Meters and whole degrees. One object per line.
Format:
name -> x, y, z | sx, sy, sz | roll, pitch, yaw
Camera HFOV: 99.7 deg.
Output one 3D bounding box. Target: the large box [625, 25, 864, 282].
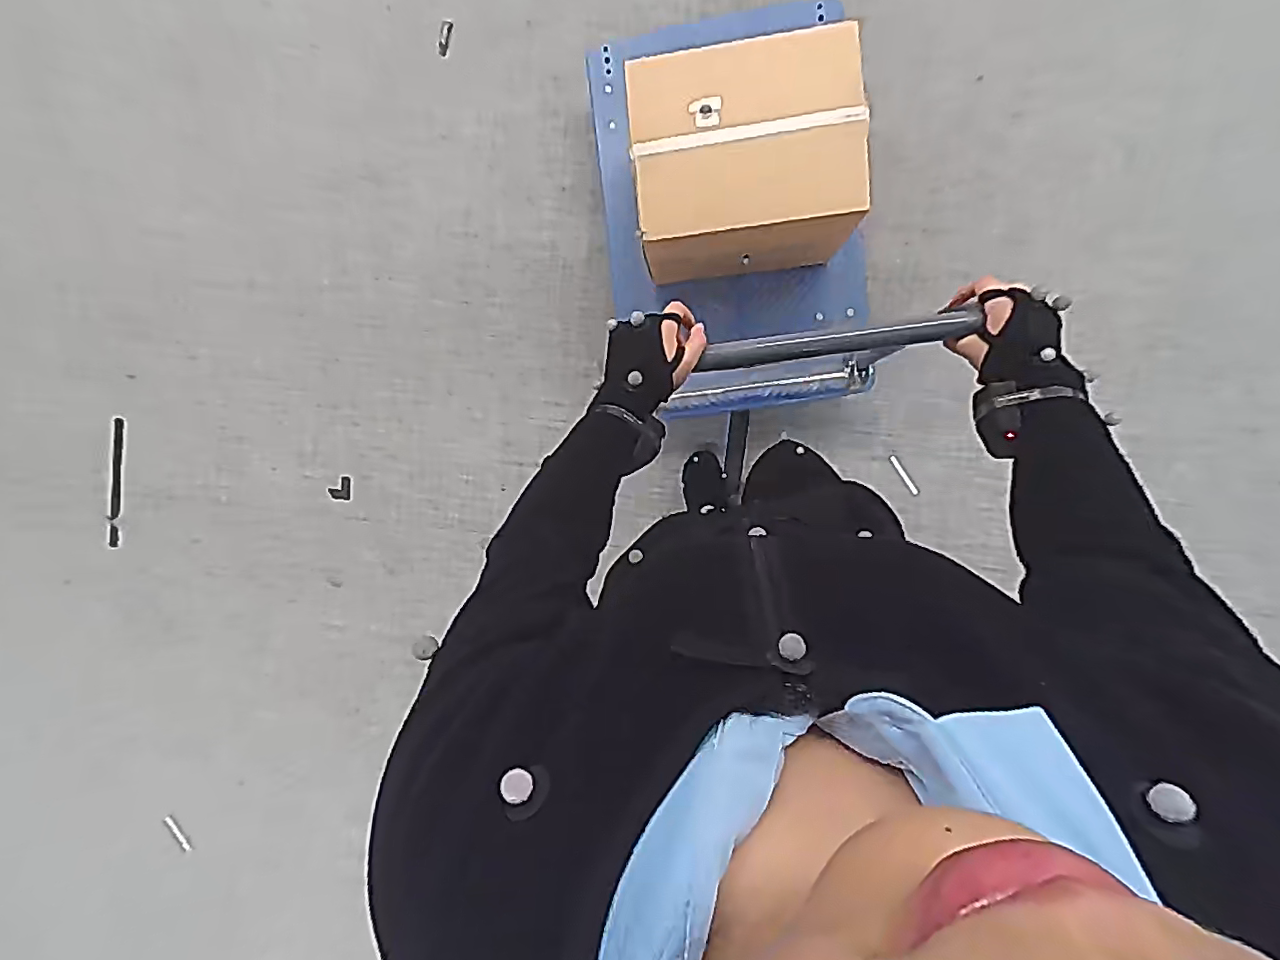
large box -> 0.204, -0.629, 1.116 | 0.408, 0.320, 0.320 | -6, 94, 7
